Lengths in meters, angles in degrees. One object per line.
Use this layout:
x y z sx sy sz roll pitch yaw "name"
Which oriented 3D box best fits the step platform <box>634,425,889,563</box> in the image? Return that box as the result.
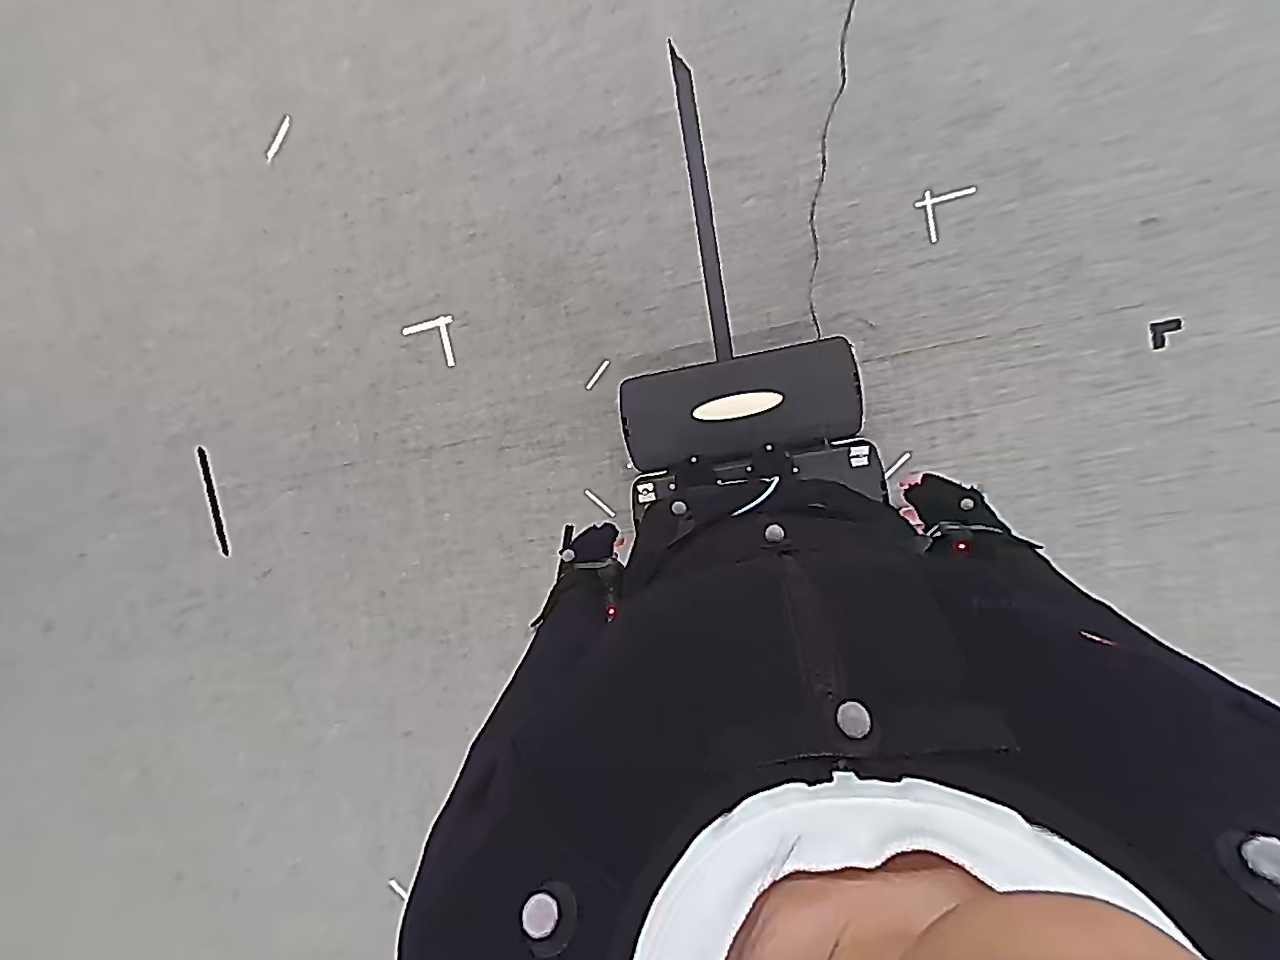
0.327 0.043 1.523 0.684 0.204 0.286 -11 92 11 "step platform"
